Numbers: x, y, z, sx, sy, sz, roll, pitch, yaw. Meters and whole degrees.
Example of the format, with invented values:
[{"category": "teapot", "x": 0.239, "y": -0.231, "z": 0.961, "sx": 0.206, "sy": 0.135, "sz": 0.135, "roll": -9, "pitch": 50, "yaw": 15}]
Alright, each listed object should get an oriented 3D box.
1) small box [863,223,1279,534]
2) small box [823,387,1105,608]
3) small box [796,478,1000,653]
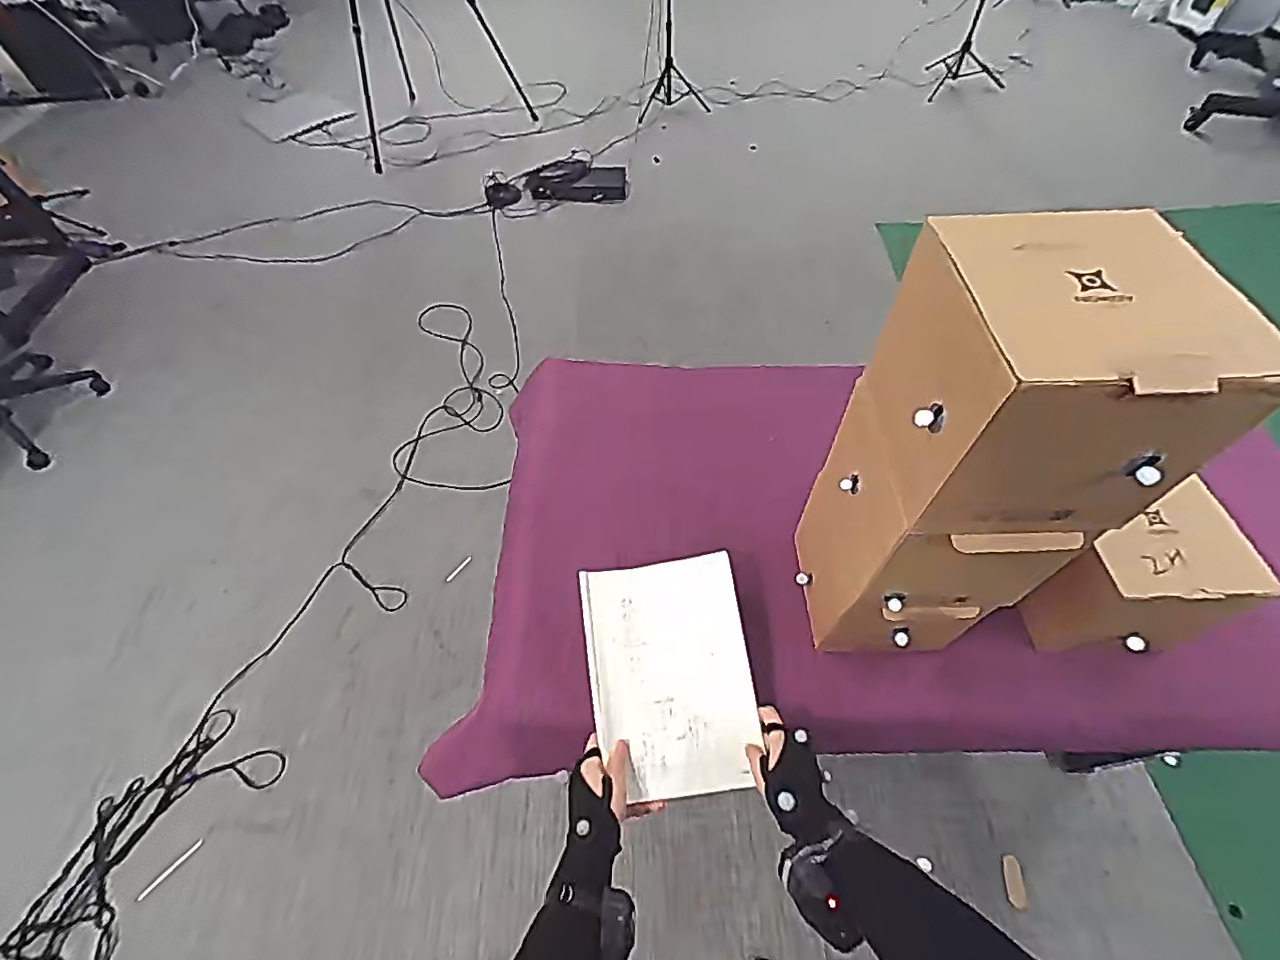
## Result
[{"category": "small box", "x": 0.292, "y": -0.069, "z": 0.415, "sx": 0.168, "sy": 0.176, "sz": 0.179, "roll": 0, "pitch": 54, "yaw": 2}, {"category": "small box", "x": 0.299, "y": 0.022, "z": 0.550, "sx": 0.168, "sy": 0.176, "sz": 0.179, "roll": -2, "pitch": 53, "yaw": 2}, {"category": "small box", "x": 0.307, "y": 0.113, "z": 0.687, "sx": 0.168, "sy": 0.176, "sz": 0.179, "roll": -1, "pitch": 55, "yaw": 2}]
